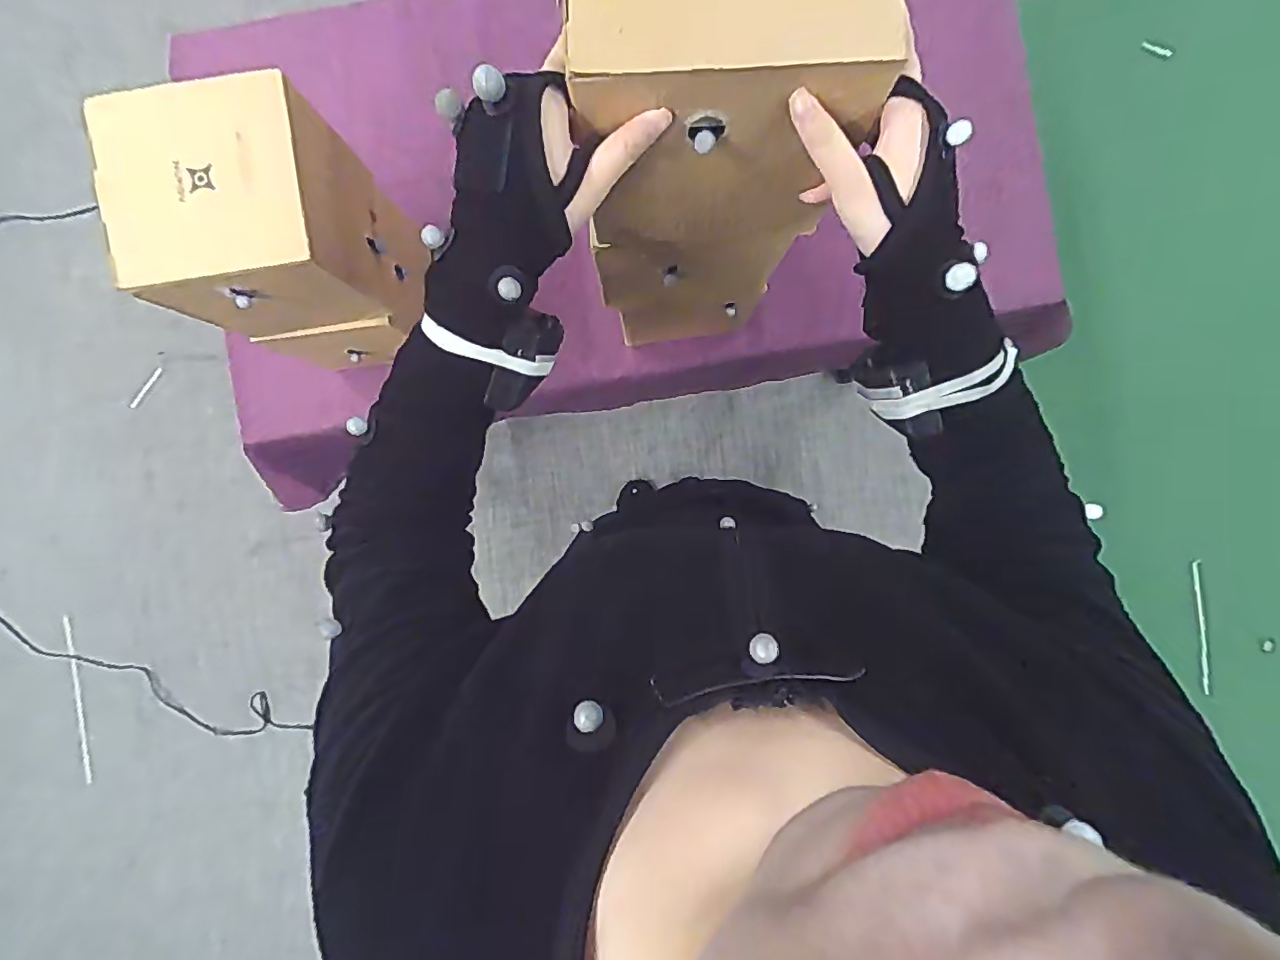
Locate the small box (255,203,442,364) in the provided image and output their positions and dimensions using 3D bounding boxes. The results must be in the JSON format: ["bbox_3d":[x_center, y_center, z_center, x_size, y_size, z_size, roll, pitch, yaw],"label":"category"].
[{"bbox_3d":[-0.374,-0.255,0.705,0.168,0.176,0.179,-7,90,1],"label":"small box"}]

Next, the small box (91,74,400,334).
[{"bbox_3d":[-0.372,-0.255,0.542,0.179,0.176,0.168,-8,92,1],"label":"small box"}]

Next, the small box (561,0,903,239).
[{"bbox_3d":[0.047,-0.280,0.361,0.179,0.176,0.168,-2,86,1],"label":"small box"}]

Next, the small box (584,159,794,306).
[{"bbox_3d":[0.042,-0.279,0.531,0.179,0.176,0.168,-3,90,2],"label":"small box"}]

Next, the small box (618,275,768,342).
[{"bbox_3d":[0.053,-0.285,0.696,0.179,0.176,0.168,-8,90,1],"label":"small box"}]
